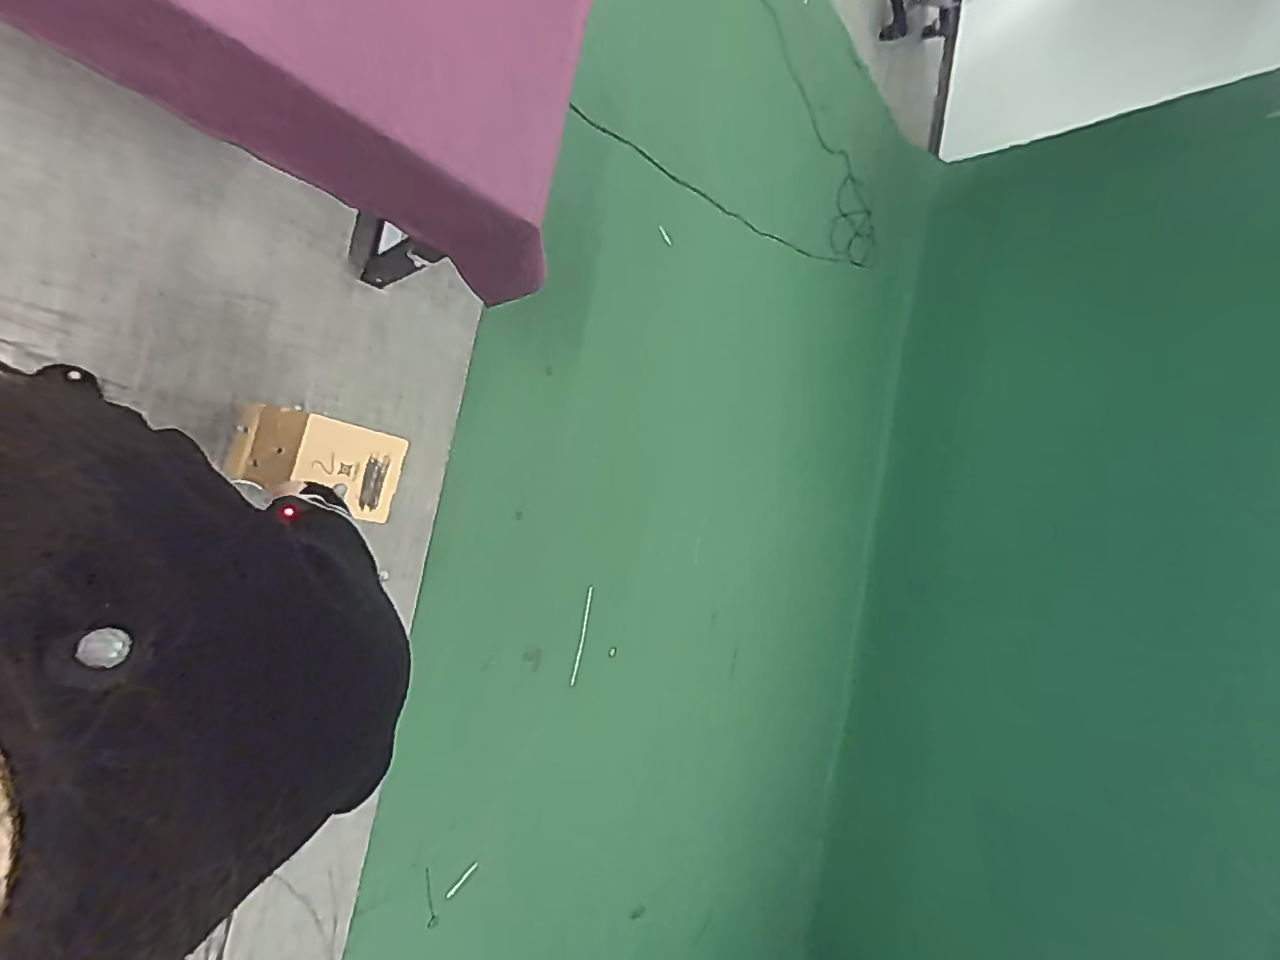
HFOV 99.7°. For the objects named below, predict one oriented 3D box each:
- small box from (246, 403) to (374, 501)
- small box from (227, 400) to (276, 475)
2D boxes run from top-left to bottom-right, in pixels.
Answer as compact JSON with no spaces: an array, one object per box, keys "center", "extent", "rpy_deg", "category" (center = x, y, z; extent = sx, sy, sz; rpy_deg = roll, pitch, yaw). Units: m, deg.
[{"center":[-0.698,-0.058,1.138],"extent":[0.179,0.176,0.168],"rpy_deg":[17,84,-46],"category":"small box"},{"center":[-0.818,-0.076,1.247],"extent":[0.179,0.176,0.168],"rpy_deg":[20,81,-45],"category":"small box"}]
